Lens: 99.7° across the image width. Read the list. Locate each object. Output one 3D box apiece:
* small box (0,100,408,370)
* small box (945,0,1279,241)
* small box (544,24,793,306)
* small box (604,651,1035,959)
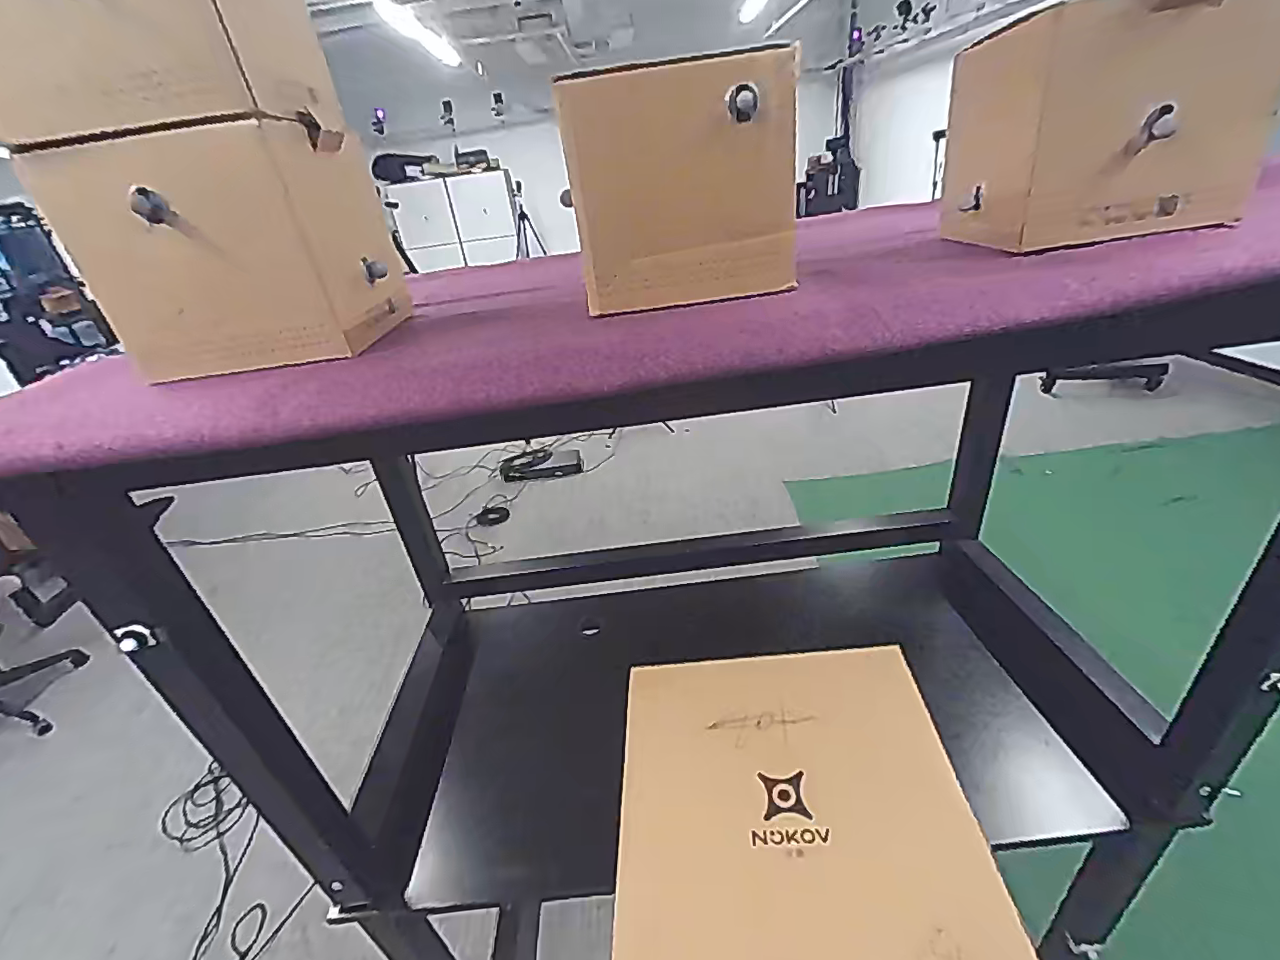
[{"bbox_3d":[-0.331,-0.201,0.460,0.179,0.176,0.168,-7,31,1],"label":"small box"},{"bbox_3d":[0.386,-0.309,0.462,0.168,0.176,0.179,-5,28,8],"label":"small box"},{"bbox_3d":[0.027,-0.256,0.471,0.179,0.176,0.168,-7,28,1],"label":"small box"},{"bbox_3d":[0.083,0.223,0.296,0.168,0.176,0.179,-7,32,8],"label":"small box"}]
